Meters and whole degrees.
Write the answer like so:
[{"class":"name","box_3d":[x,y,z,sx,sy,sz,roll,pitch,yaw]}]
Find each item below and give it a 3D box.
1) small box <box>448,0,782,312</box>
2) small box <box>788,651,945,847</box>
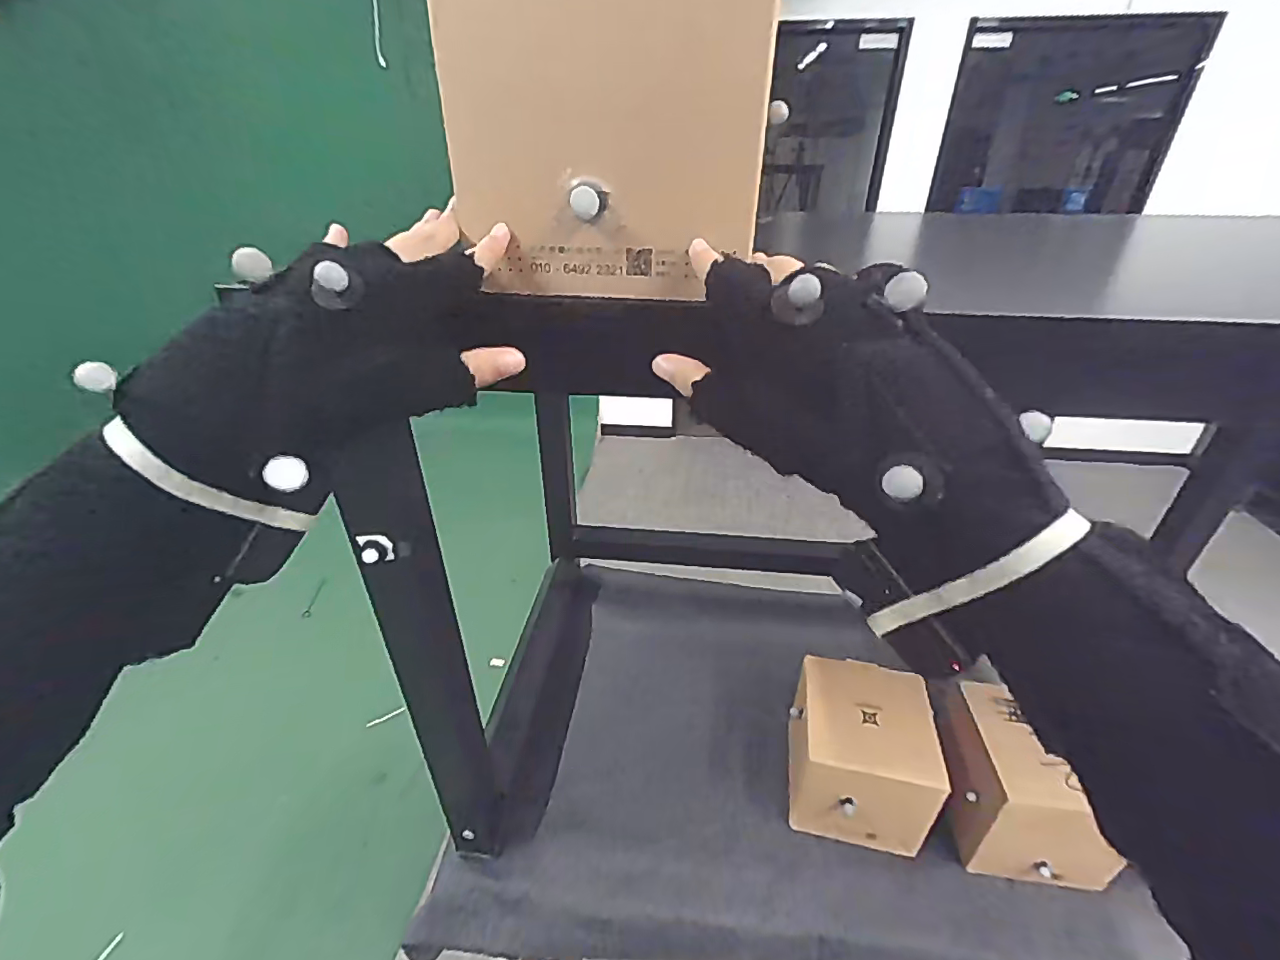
[{"class":"small box","box_3d":[-0.006,-0.218,0.348,0.168,0.176,0.179,5,32,7]},{"class":"small box","box_3d":[0.309,0.381,0.773,0.168,0.176,0.179,7,31,11]}]
